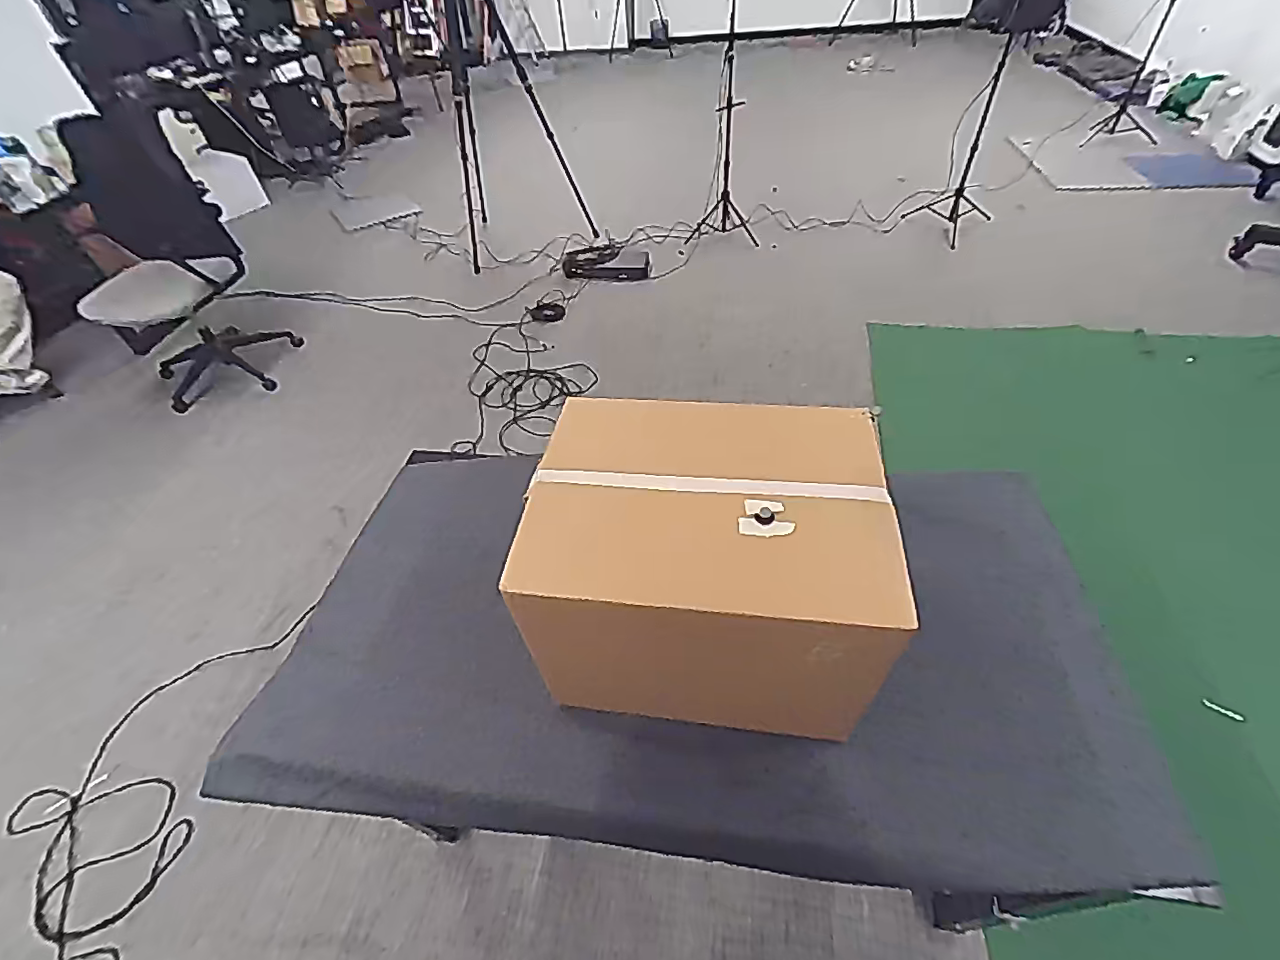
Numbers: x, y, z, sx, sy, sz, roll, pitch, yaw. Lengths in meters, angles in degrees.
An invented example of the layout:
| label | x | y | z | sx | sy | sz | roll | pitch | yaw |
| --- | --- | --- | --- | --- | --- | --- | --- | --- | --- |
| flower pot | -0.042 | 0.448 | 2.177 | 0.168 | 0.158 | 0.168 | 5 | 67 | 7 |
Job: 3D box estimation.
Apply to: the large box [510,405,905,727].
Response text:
| label | x | y | z | sx | sy | sz | roll | pitch | yaw |
| --- | --- | --- | --- | --- | --- | --- | --- | --- | --- |
| large box | 0.084 | 0.116 | 0.746 | 0.408 | 0.320 | 0.320 | 3 | 48 | 8 |
